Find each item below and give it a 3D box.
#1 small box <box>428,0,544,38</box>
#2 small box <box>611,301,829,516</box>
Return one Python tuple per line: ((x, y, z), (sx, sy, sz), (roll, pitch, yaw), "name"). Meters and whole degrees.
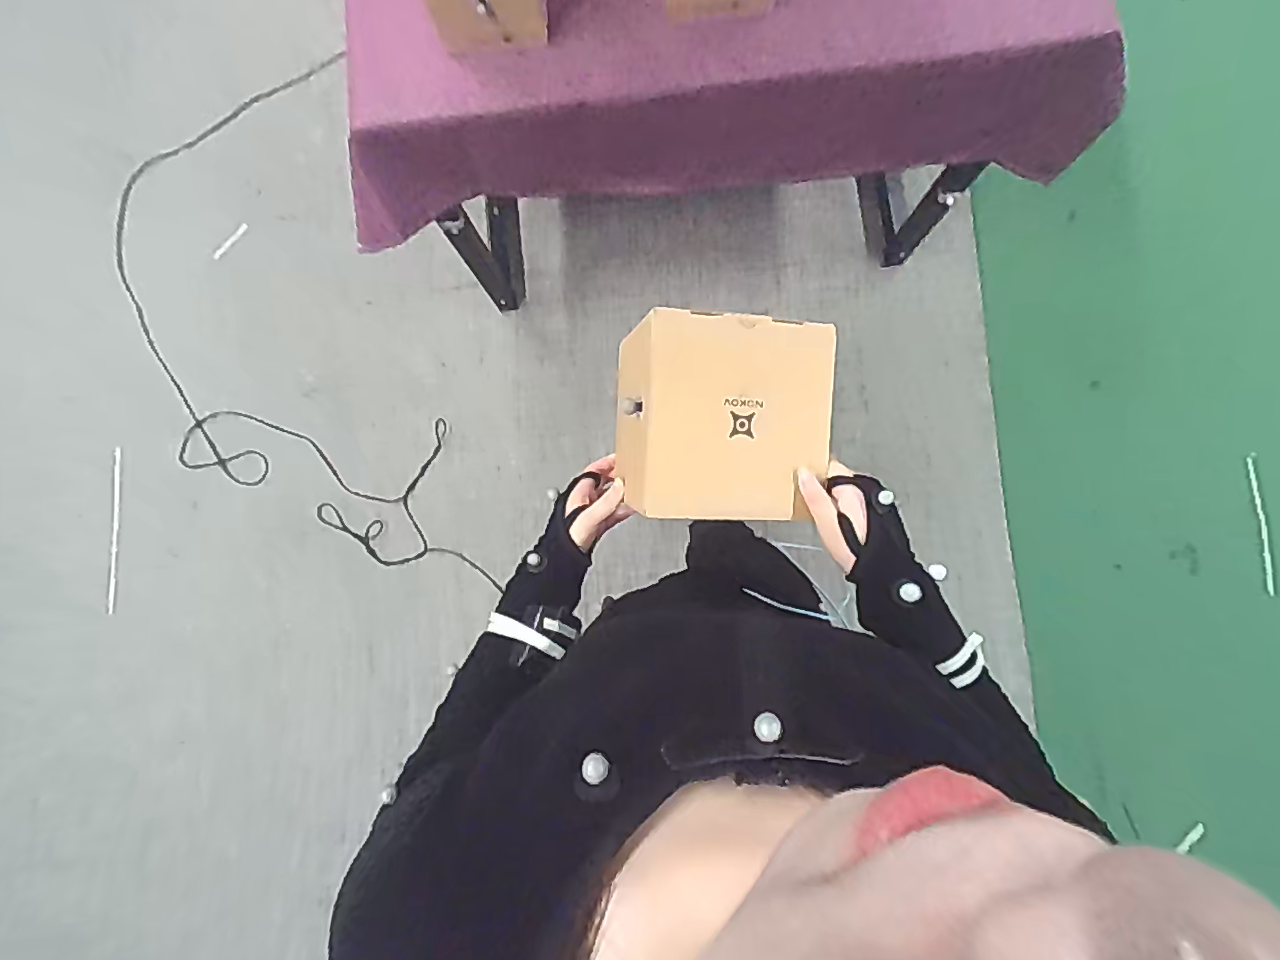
((-0.236, -0.788, 0.787), (0.168, 0.176, 0.179), (-3, 84, 0), "small box")
((0.065, -0.064, 0.543), (0.168, 0.176, 0.179), (2, 94, -13), "small box")
